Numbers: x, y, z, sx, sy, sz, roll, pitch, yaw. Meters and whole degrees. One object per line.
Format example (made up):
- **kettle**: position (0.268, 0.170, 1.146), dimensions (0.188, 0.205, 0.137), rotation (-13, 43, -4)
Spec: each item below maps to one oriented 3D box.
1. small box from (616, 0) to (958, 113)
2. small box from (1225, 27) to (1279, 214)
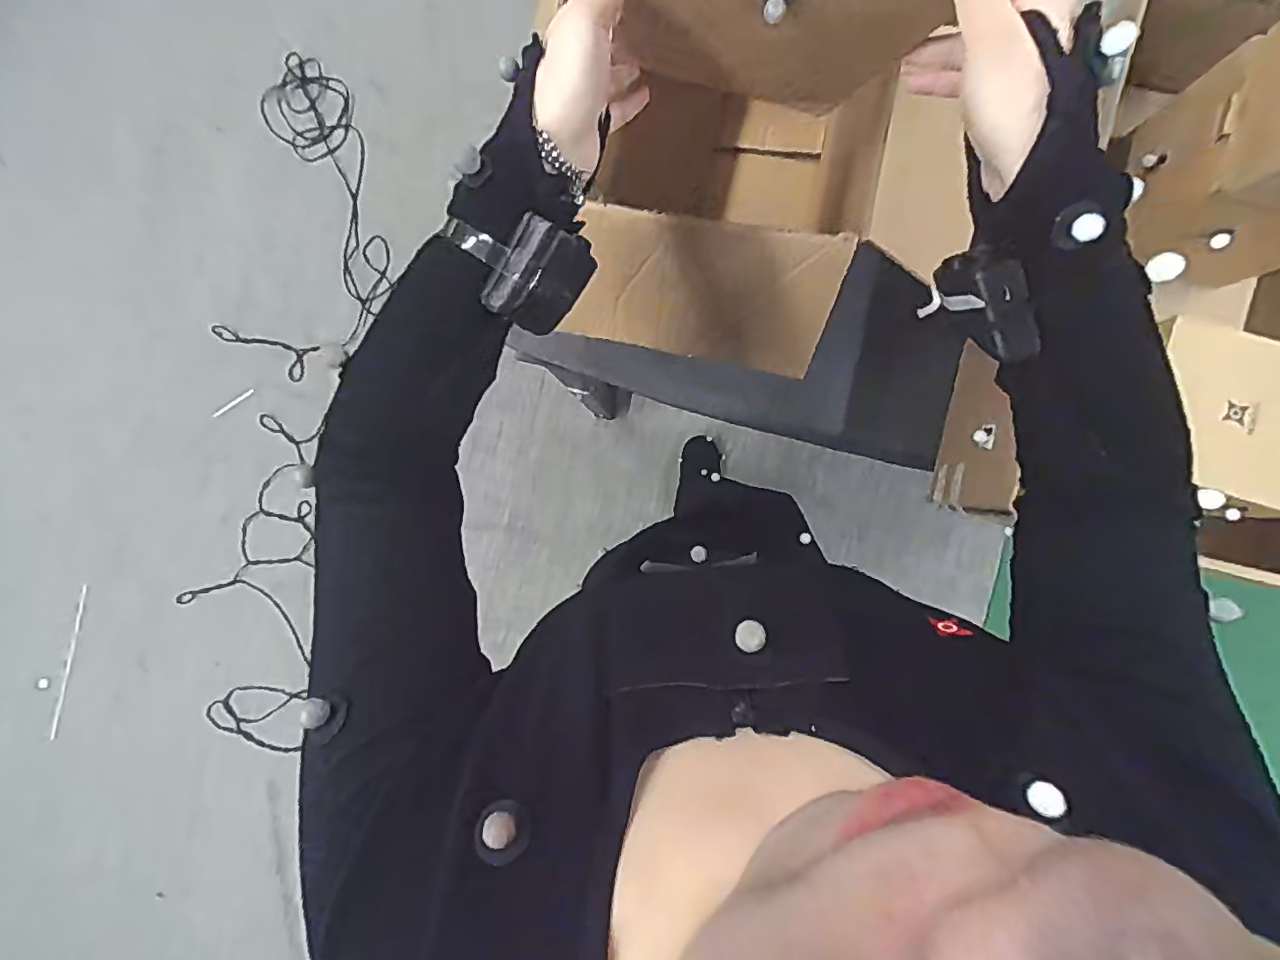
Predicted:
- **small box**: position (0.087, -0.356, 0.324), dimensions (0.179, 0.176, 0.168), rotation (8, 104, -12)
- **small box**: position (0.678, -0.347, 0.462), dimensions (0.168, 0.176, 0.179), rotation (14, 92, 3)
